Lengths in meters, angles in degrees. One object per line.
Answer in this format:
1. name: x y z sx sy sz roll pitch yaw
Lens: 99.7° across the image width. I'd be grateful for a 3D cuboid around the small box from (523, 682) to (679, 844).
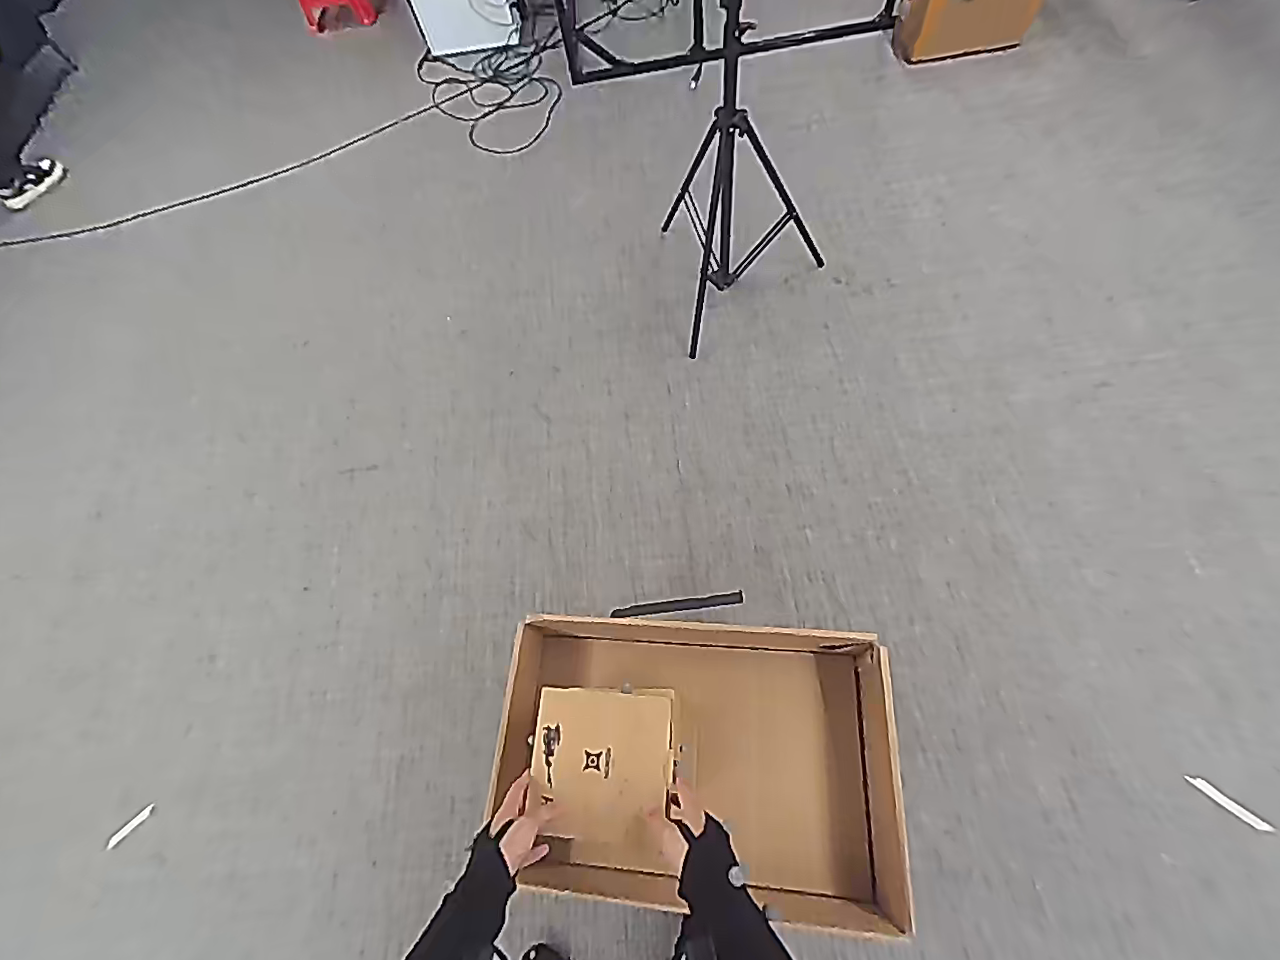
1. small box: -0.039 0.376 0.740 0.179 0.176 0.168 2 65 8
